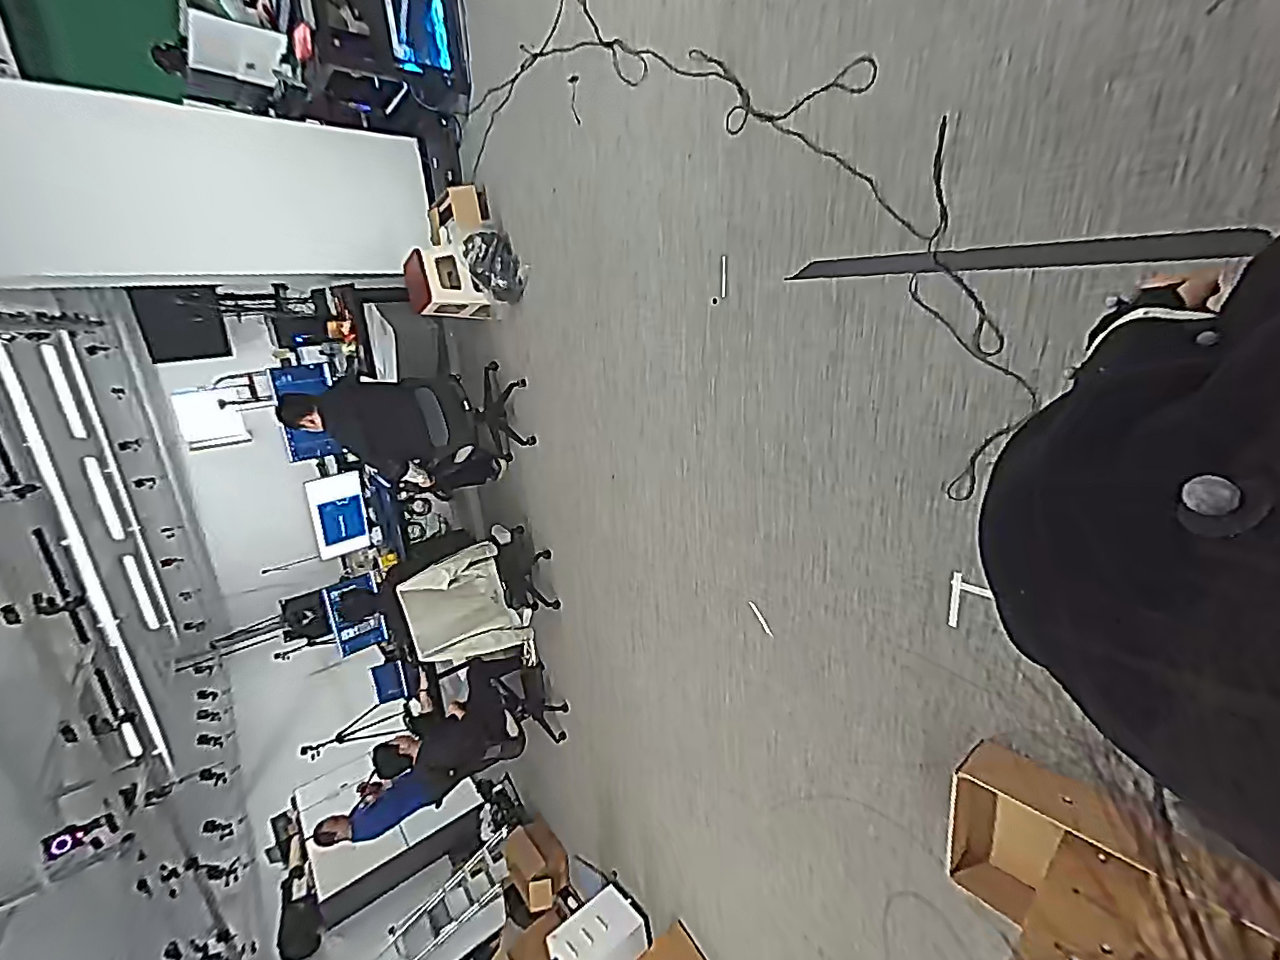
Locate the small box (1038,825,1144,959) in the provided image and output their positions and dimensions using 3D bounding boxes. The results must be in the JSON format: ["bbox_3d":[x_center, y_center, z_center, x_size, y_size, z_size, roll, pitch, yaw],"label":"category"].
[{"bbox_3d":[1.107,1.007,1.327,0.168,0.176,0.179,10,112,50],"label":"small box"}]

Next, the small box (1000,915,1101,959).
[{"bbox_3d":[0.862,1.080,1.125,0.168,0.176,0.179,9,111,50],"label":"small box"}]
